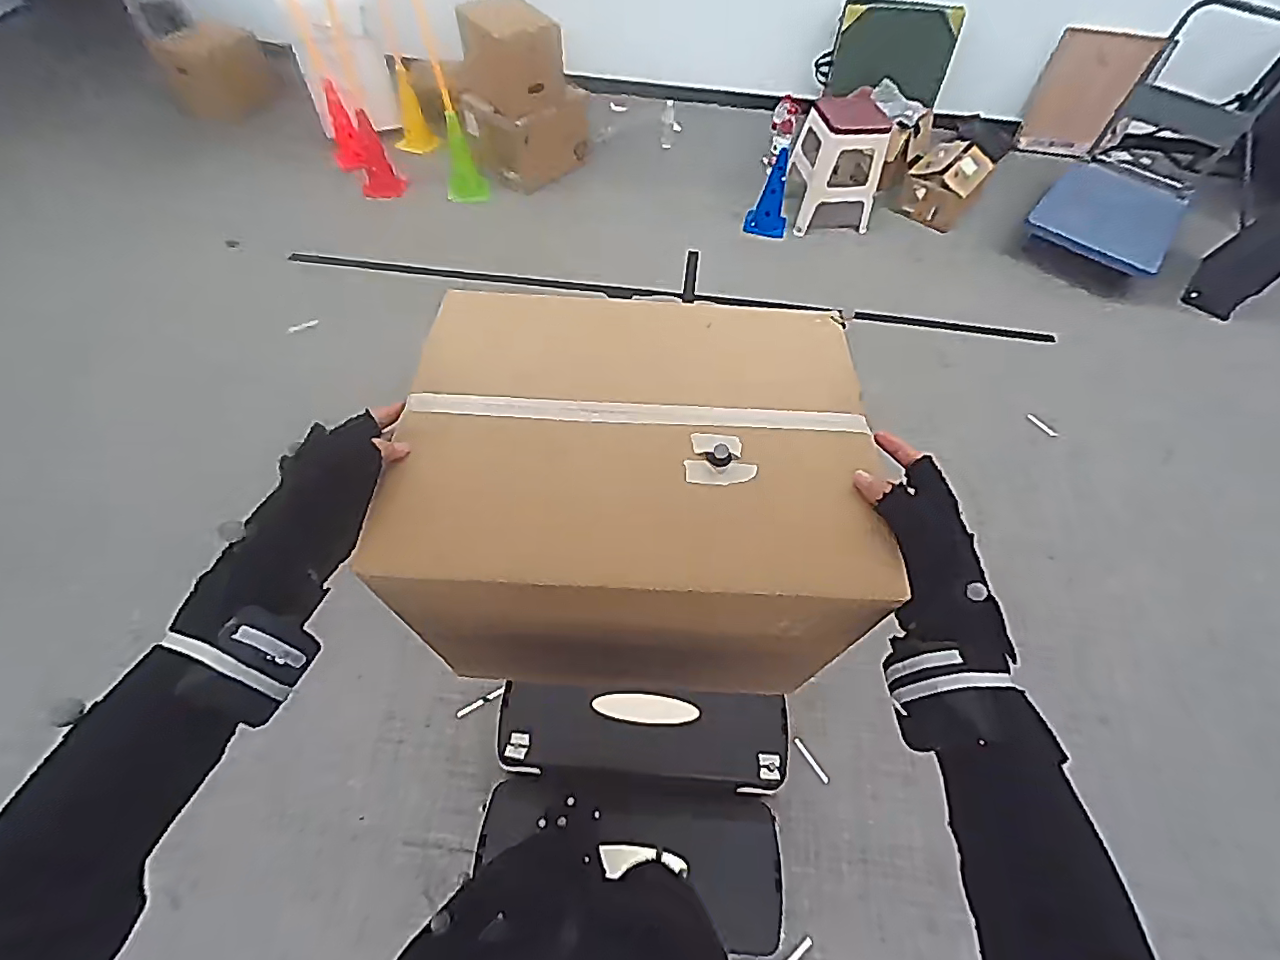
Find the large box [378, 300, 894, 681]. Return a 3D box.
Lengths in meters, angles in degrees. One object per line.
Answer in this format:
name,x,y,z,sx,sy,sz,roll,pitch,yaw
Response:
large box,-0.006,0.029,0.613,0.408,0.320,0.320,4,57,-1

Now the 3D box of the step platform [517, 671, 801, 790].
step platform,0.045,0.577,1.342,0.684,0.204,0.286,6,57,-1
